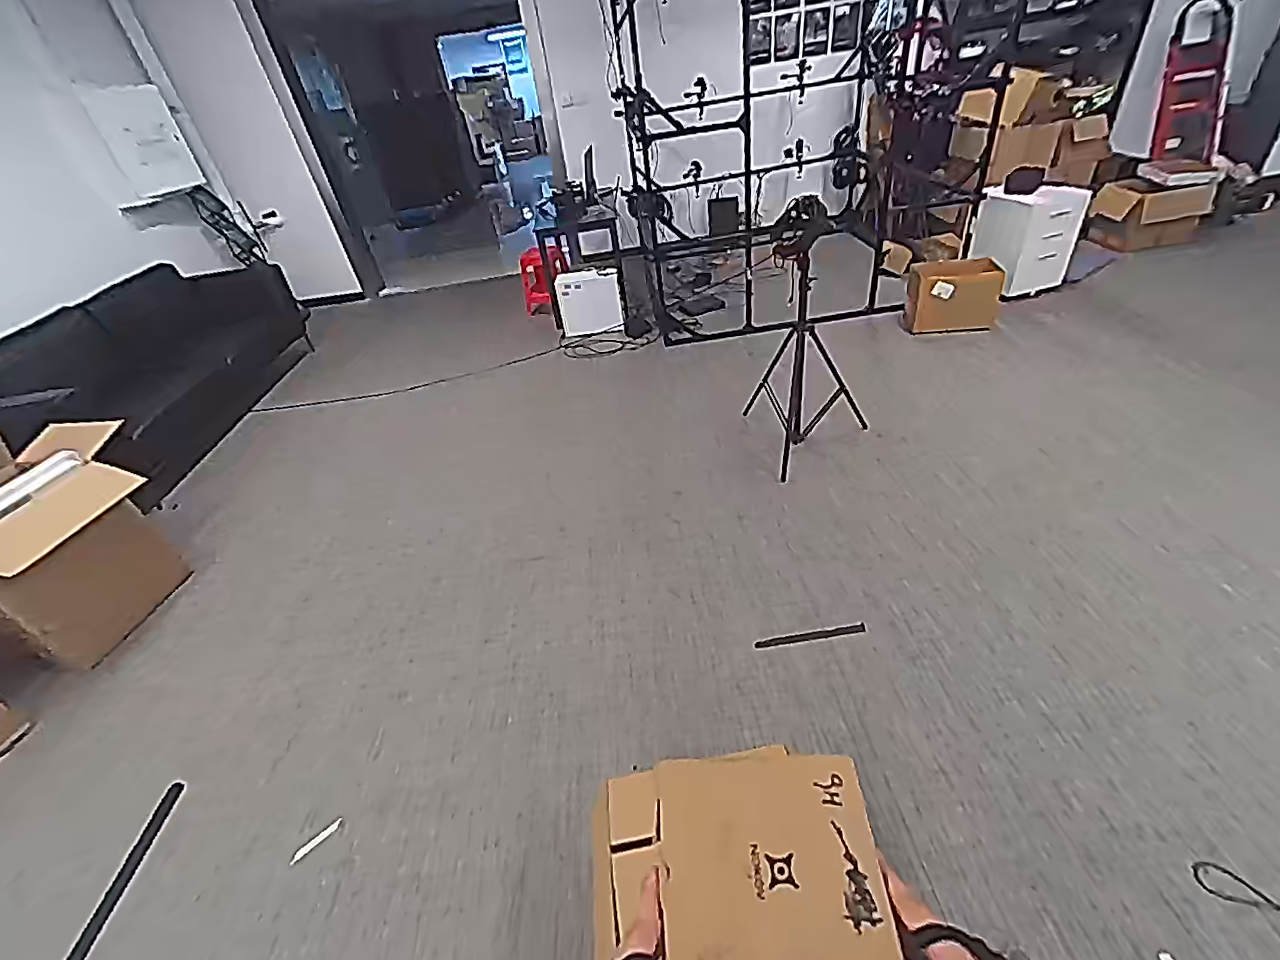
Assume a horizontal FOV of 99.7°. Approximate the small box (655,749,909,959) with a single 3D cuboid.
[{"bbox_3d":[0.106,0.353,0.479,0.179,0.176,0.168,-2,48,1],"label":"small box"}]
